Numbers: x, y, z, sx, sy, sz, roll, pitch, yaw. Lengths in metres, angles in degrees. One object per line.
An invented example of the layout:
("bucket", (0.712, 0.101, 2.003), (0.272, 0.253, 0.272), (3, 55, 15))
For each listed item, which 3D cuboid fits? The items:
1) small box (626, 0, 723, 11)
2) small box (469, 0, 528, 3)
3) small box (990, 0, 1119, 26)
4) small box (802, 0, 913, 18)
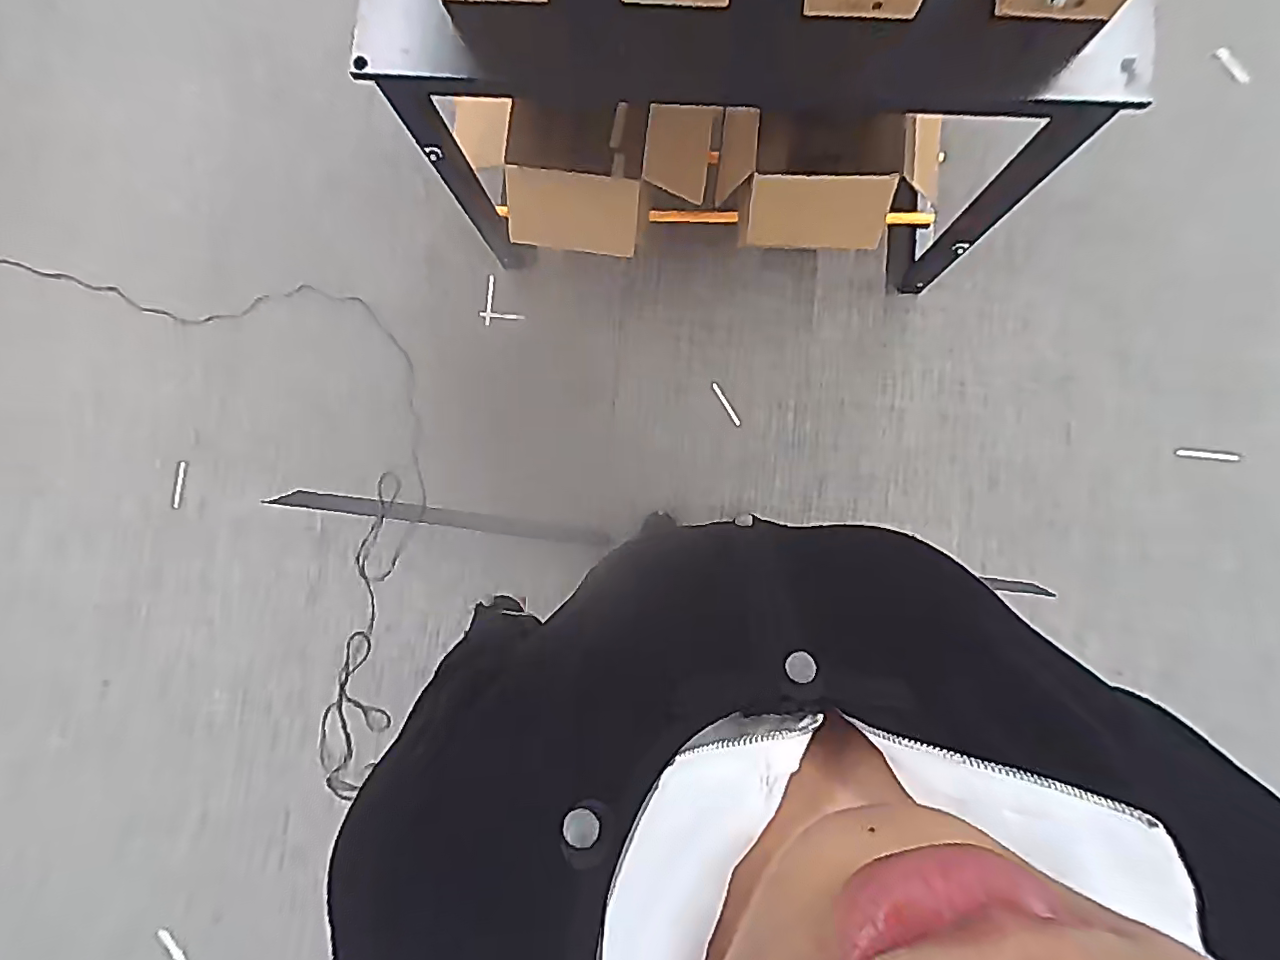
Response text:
("small box", (0.051, -0.822, 0.762), (0.168, 0.176, 0.179), (6, 87, 4))
("small box", (-0.233, -0.839, 0.778), (0.179, 0.176, 0.168), (4, 86, 3))
("small box", (0.601, -0.768, 0.726), (0.168, 0.176, 0.179), (6, 87, 6))
("small box", (0.324, -0.788, 0.744), (0.168, 0.176, 0.179), (5, 87, 4))
